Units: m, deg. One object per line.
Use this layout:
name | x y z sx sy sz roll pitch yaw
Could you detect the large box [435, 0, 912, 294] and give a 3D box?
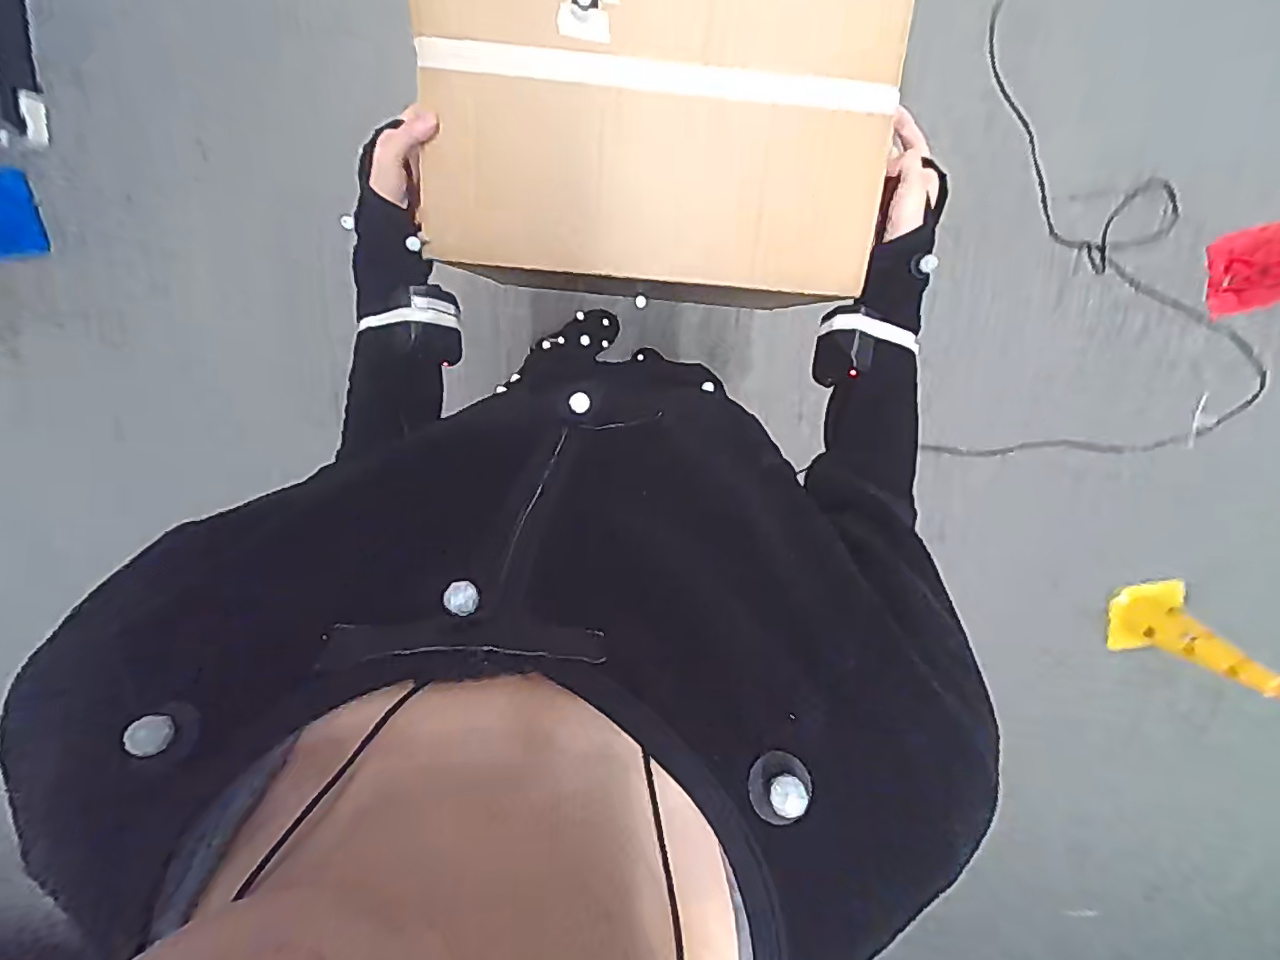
large box | 0.024 -0.388 0.606 0.408 0.320 0.320 5 106 -2
